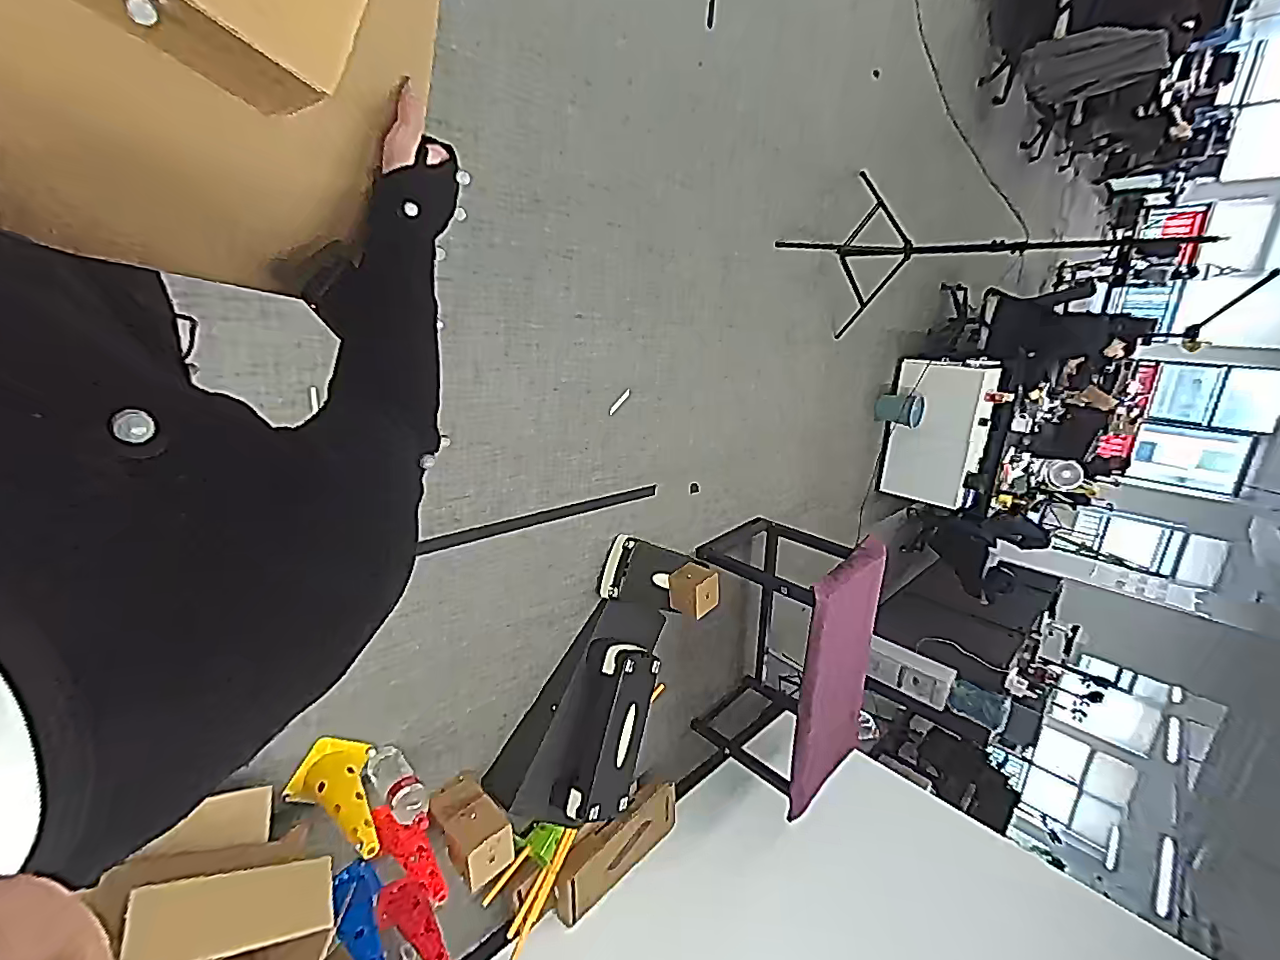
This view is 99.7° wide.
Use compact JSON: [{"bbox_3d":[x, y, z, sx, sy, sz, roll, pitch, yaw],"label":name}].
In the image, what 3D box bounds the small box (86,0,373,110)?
[{"bbox_3d":[-0.291,-0.385,0.363,0.179,0.176,0.168,17,98,-48],"label":"small box"}]
